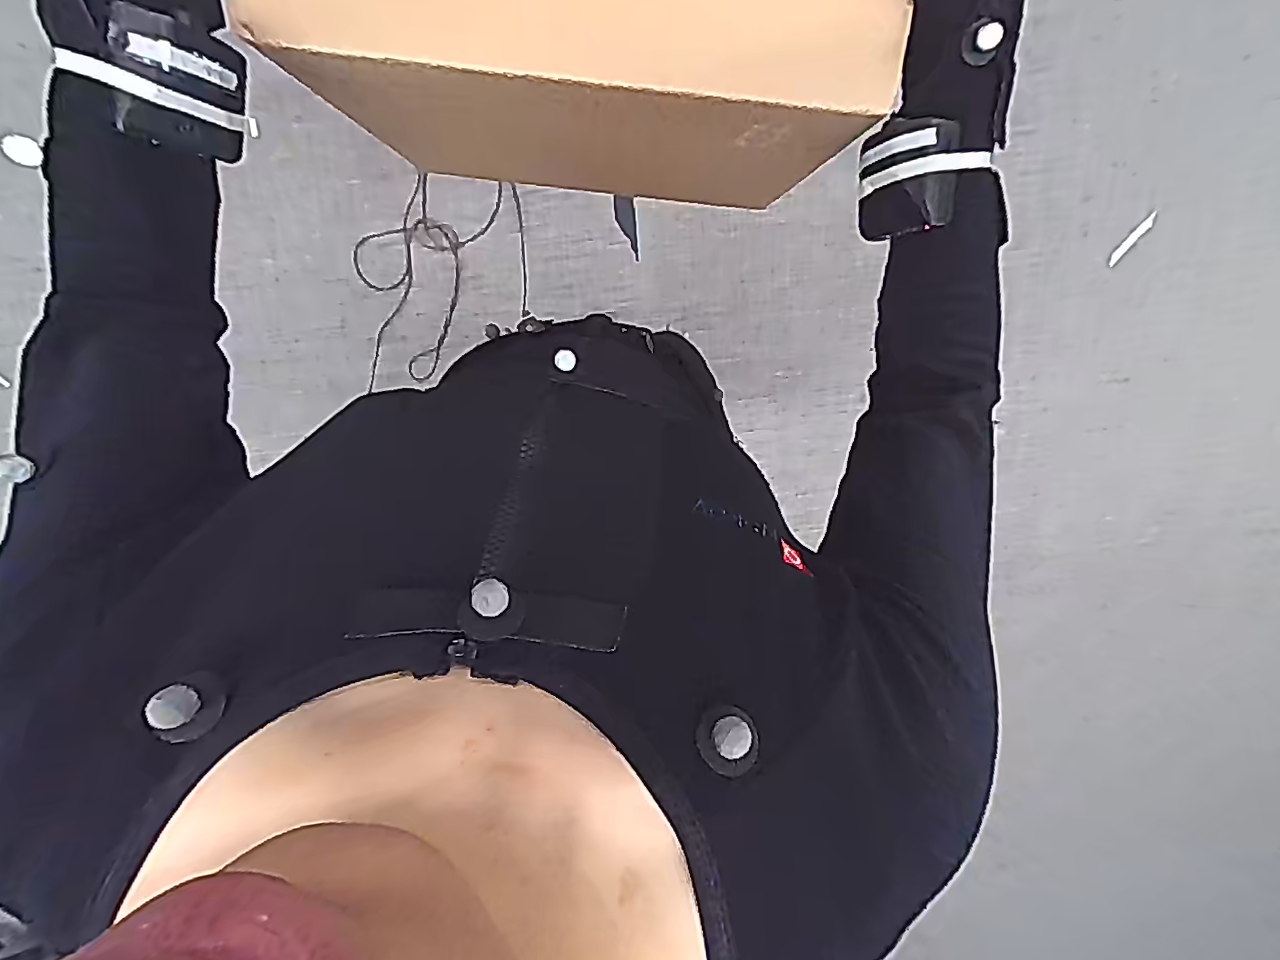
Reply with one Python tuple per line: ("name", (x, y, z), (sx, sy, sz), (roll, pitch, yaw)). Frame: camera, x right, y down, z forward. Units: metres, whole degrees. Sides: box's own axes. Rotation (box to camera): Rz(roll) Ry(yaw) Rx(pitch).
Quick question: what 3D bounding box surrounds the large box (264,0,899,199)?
("large box", (-0.033, -0.447, 0.450), (0.408, 0.320, 0.320), (3, 107, -4))
